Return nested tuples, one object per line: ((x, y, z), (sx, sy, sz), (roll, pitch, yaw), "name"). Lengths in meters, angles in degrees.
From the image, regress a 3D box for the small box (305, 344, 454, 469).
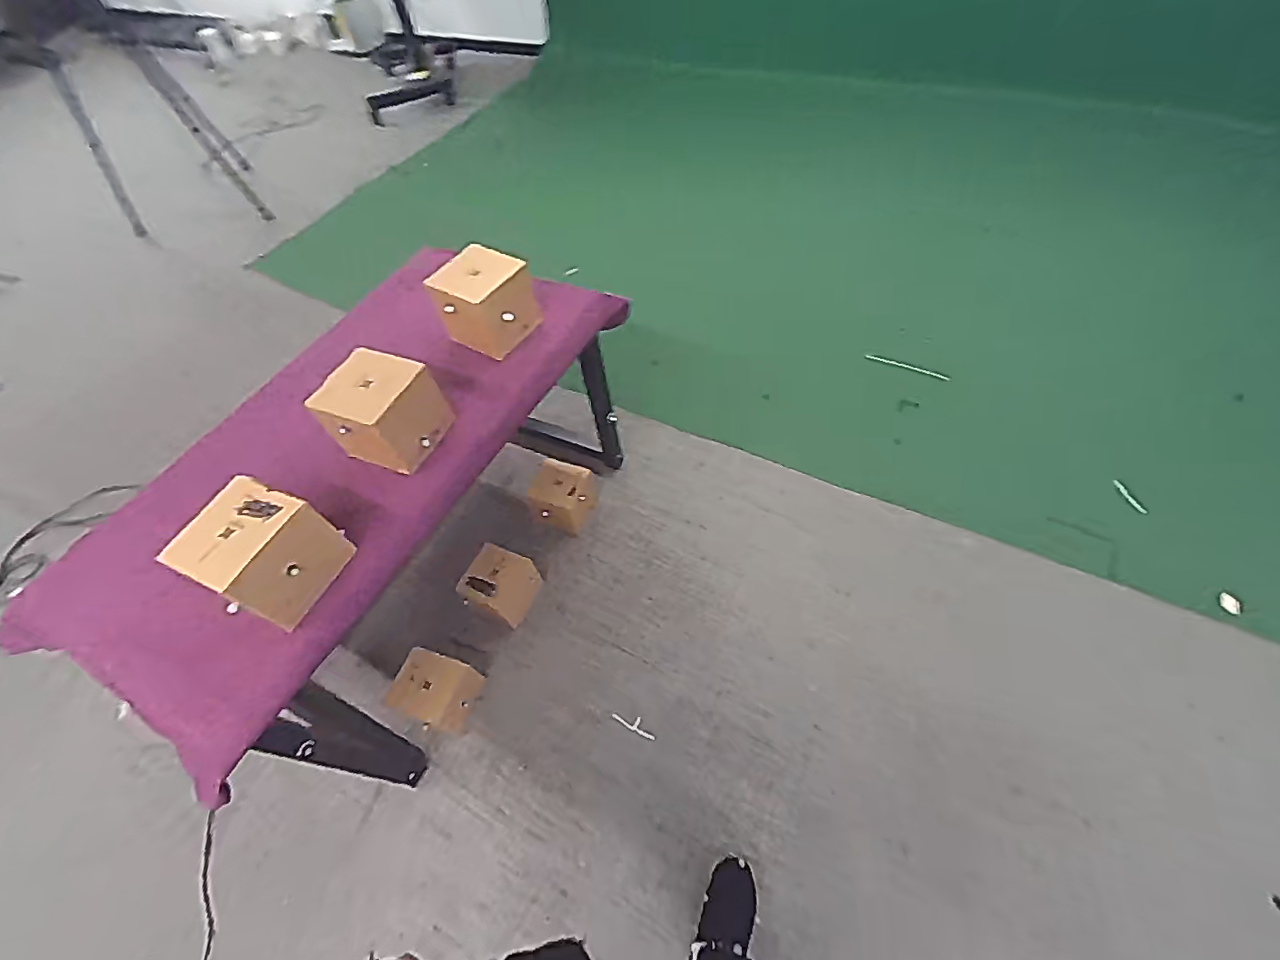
((-0.516, -0.145, 1.095), (0.179, 0.176, 0.168), (17, 60, 18), "small box")

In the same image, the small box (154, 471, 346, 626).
((-0.642, 0.118, 0.922), (0.168, 0.176, 0.179), (18, 59, 19), "small box")

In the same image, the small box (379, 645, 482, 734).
((-0.562, 0.580, 1.482), (0.179, 0.176, 0.168), (14, 58, 15), "small box")

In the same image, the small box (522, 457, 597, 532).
((-0.263, 0.053, 1.817), (0.179, 0.176, 0.168), (15, 58, 17), "small box")

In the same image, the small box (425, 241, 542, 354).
((-0.357, -0.423, 1.272), (0.179, 0.176, 0.168), (27, 63, 24), "small box")
